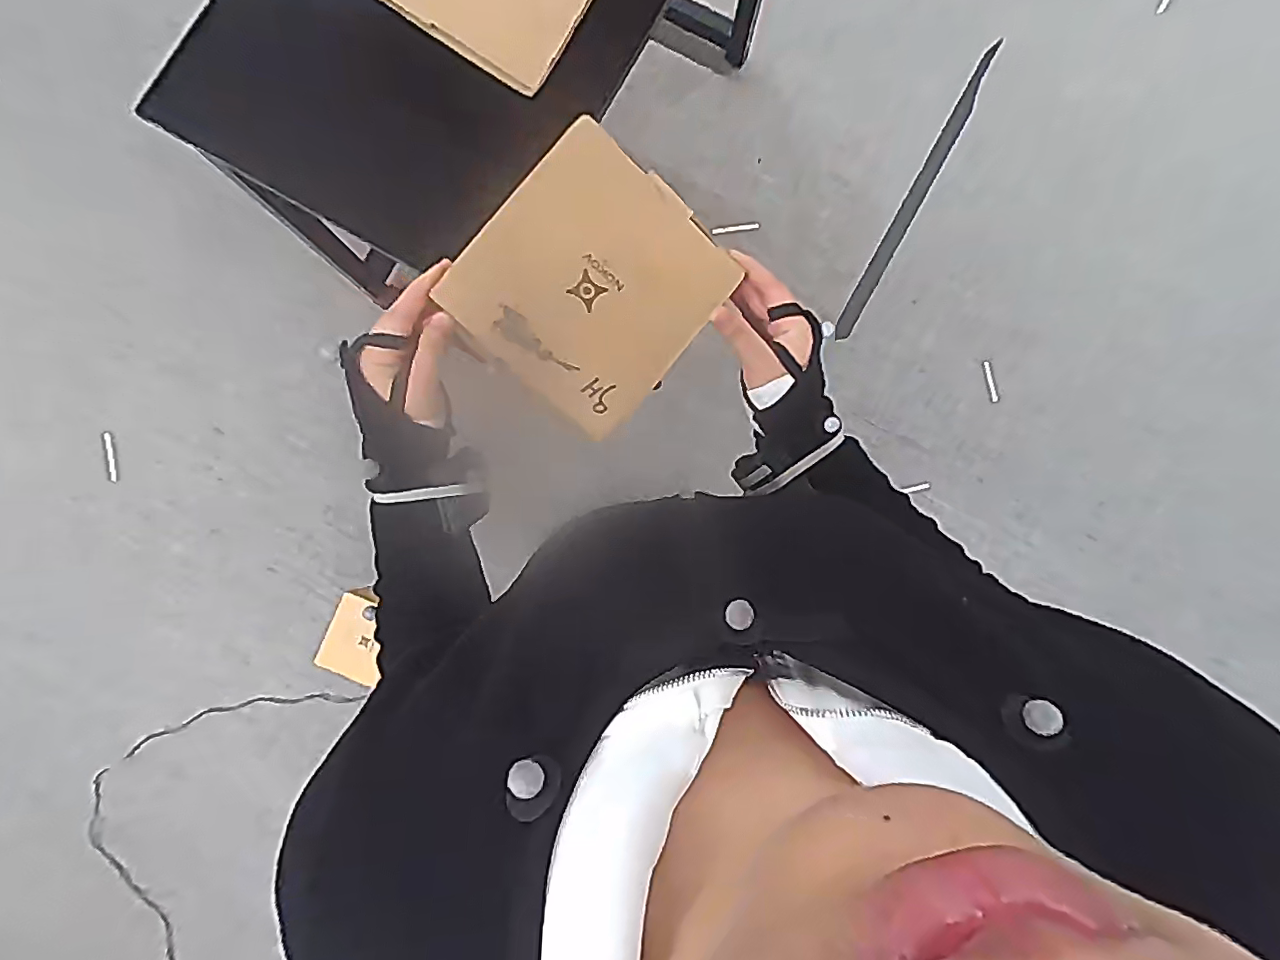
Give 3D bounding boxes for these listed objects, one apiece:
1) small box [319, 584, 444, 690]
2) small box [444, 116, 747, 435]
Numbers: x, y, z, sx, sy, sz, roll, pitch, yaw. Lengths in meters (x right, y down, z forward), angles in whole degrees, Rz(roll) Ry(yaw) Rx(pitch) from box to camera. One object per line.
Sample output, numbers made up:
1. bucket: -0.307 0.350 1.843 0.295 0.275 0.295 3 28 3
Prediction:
1. small box: -0.580 0.348 1.240 0.179 0.176 0.168 22 85 1
2. small box: -0.044 -0.157 0.481 0.168 0.176 0.179 40 86 -11
